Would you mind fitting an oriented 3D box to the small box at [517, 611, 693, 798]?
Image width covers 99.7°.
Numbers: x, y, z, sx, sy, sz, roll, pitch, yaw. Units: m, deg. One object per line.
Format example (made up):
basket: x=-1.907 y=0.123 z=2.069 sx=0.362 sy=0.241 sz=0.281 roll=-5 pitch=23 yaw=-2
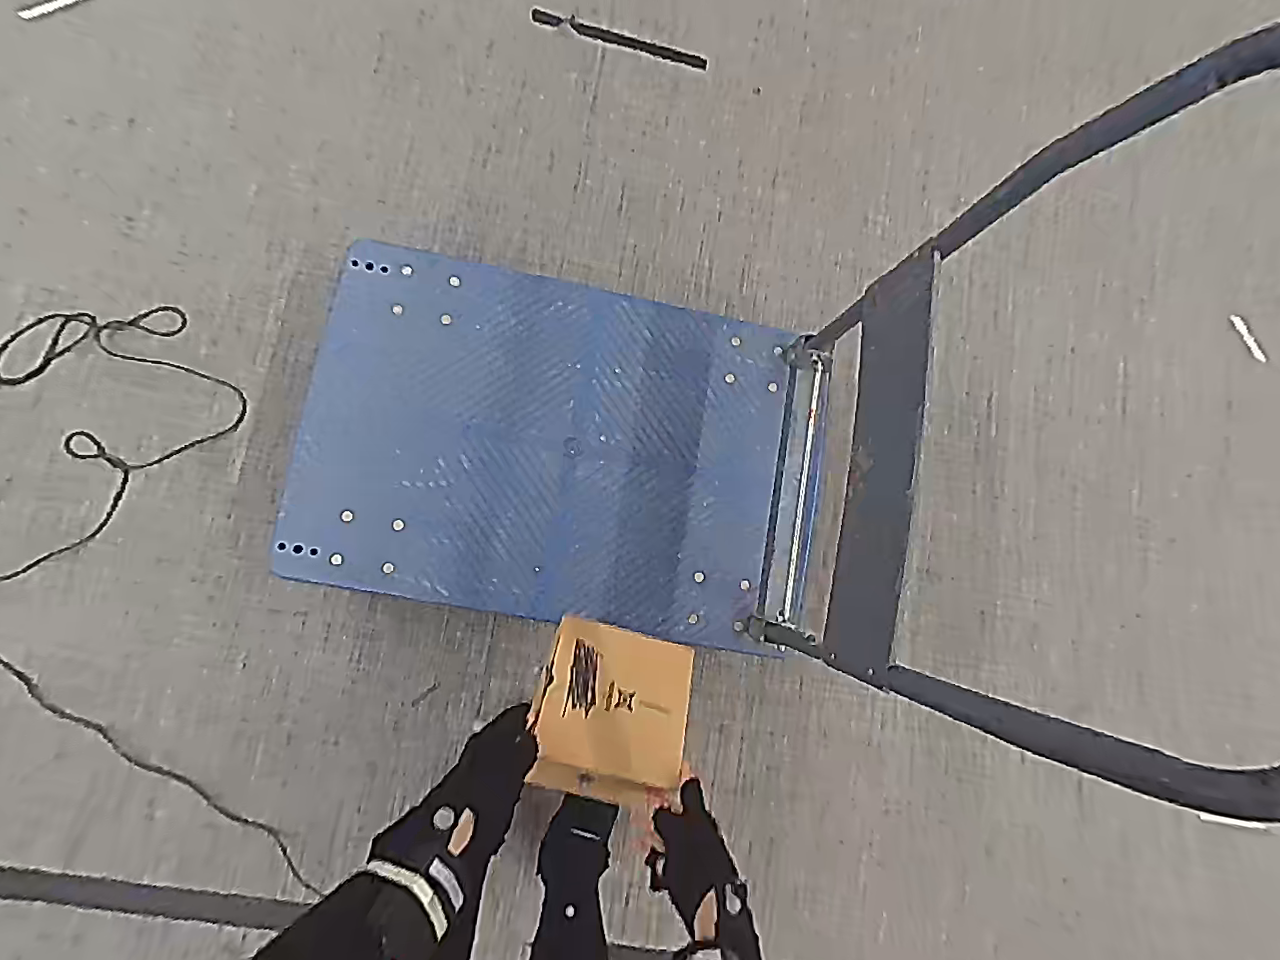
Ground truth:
small box: x=-0.049 y=0.297 z=0.700 sx=0.179 sy=0.176 sz=0.168 roll=18 pitch=51 yaw=-7
